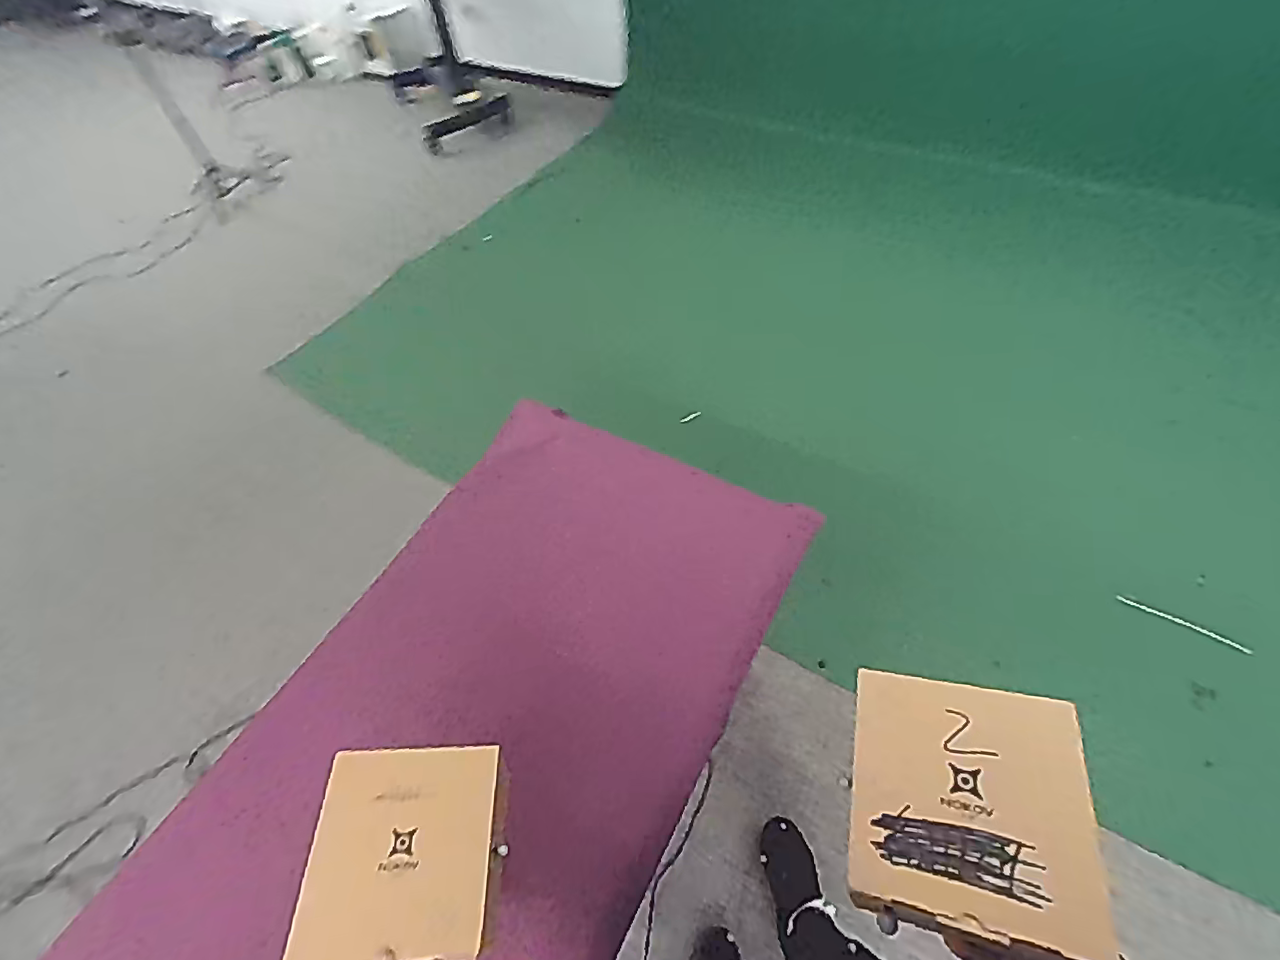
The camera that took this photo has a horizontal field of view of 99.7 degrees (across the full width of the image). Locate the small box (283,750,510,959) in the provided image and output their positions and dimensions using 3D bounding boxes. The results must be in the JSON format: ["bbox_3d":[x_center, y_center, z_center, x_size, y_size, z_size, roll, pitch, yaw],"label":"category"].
[{"bbox_3d":[-0.232,0.401,0.573,0.168,0.176,0.179,2,50,-7],"label":"small box"}]
